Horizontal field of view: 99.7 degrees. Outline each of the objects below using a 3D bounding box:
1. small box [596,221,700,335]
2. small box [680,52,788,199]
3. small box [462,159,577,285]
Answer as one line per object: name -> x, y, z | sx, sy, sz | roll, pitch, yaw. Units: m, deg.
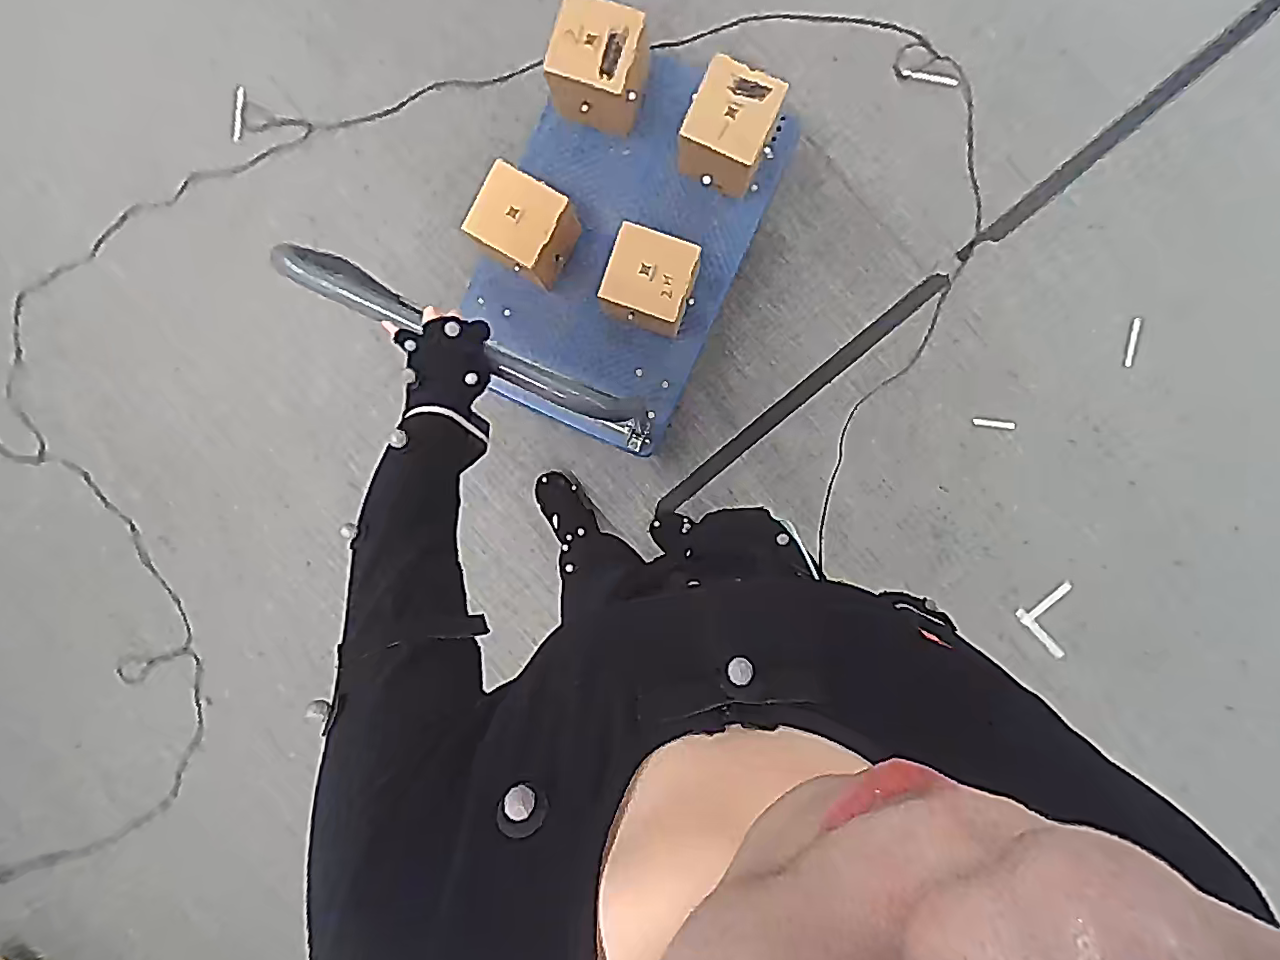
small box -> 0.021, -0.438, 1.201 | 0.179, 0.176, 0.168 | 20, 95, 2
small box -> 0.192, -0.754, 1.169 | 0.168, 0.176, 0.179 | 26, 96, 1
small box -> -0.260, -0.563, 1.210 | 0.179, 0.176, 0.168 | 29, 95, 0
